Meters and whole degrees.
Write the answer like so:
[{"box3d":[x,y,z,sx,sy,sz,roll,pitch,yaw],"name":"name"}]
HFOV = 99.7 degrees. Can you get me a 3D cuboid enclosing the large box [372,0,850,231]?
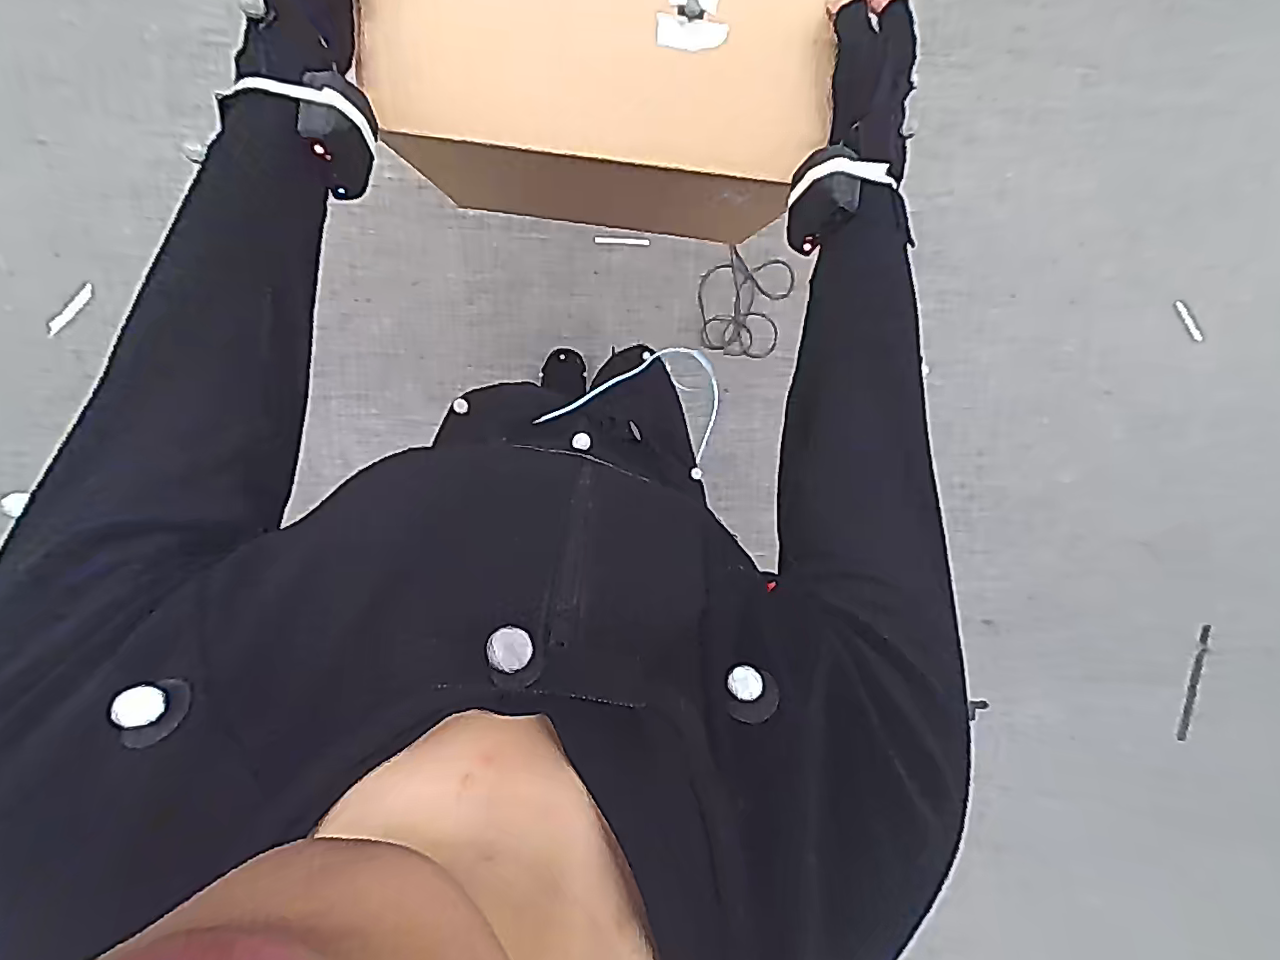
[{"box3d":[-0.026,-0.480,0.583,0.408,0.320,0.320,5,105,-5],"name":"large box"}]
